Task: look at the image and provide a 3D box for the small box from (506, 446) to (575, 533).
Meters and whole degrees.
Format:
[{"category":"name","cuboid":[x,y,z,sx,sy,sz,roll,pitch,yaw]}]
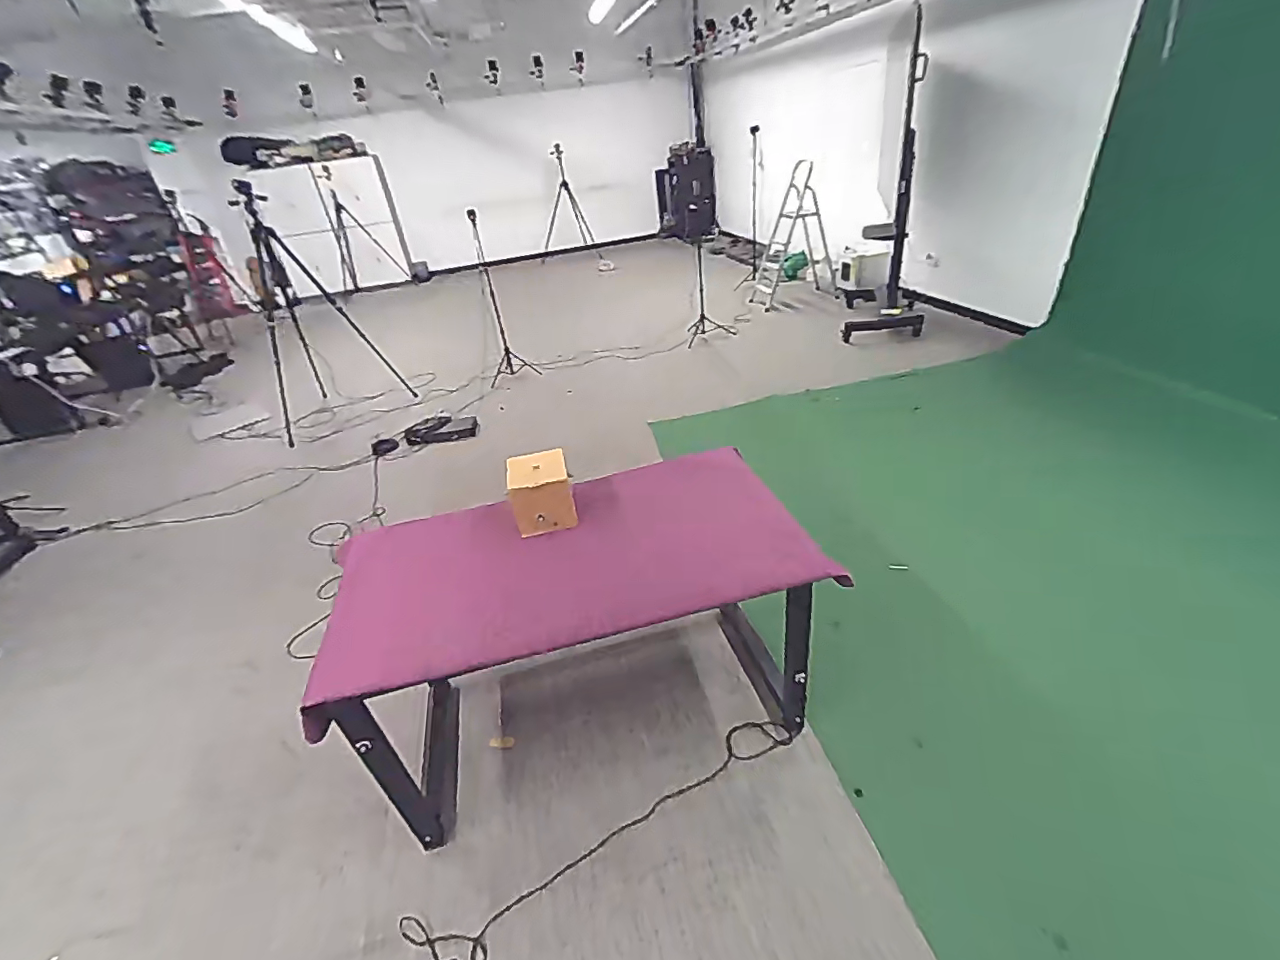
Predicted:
[{"category":"small box","cuboid":[-0.285,0.027,1.556,0.168,0.176,0.179,-11,35,-7]}]
